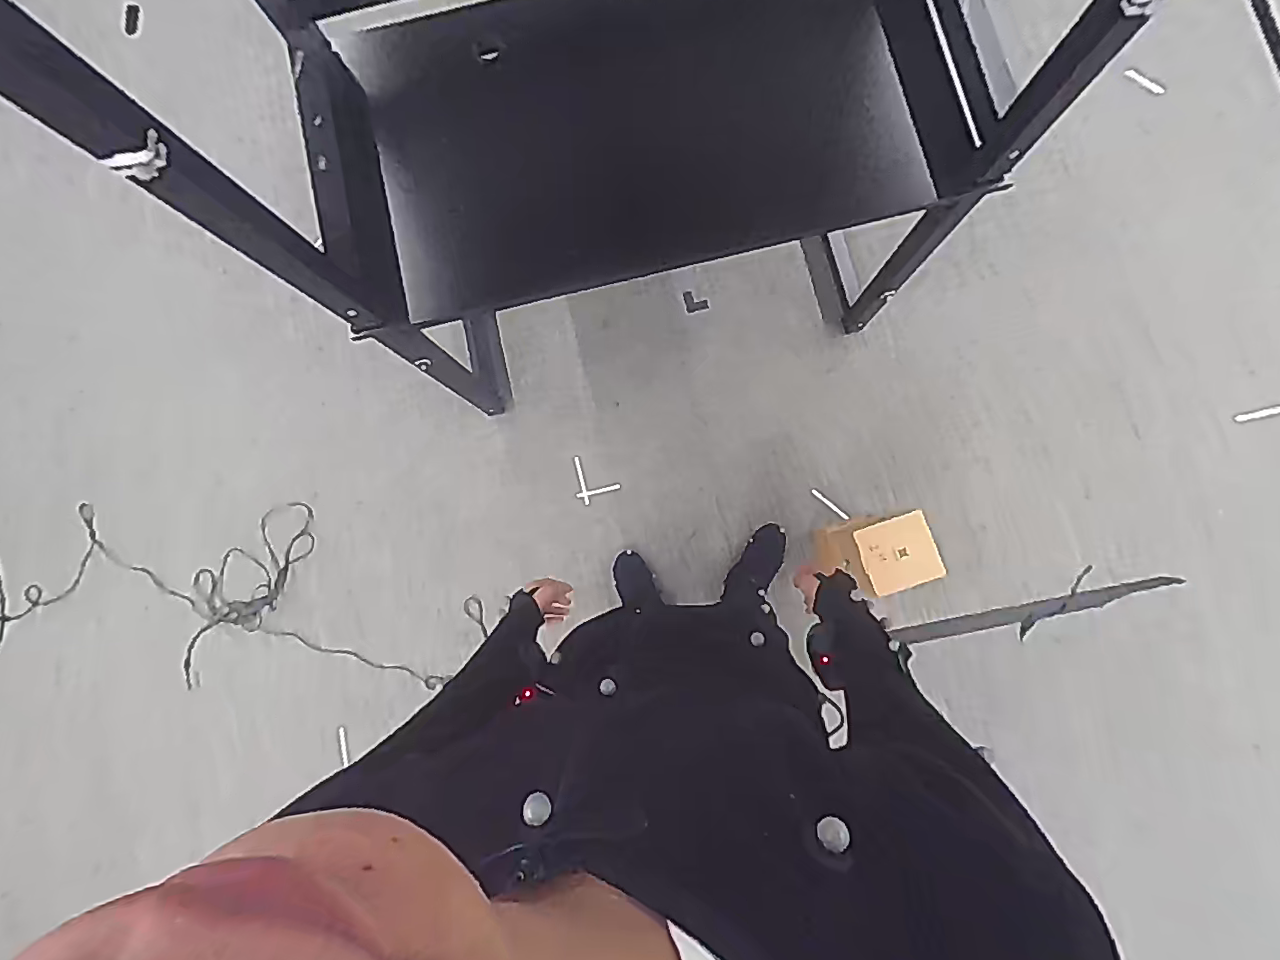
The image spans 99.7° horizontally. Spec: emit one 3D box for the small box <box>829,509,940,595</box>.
[{"bbox_3d":[0.605,0.175,1.360,0.179,0.176,0.168,-18,84,1],"label":"small box"}]
